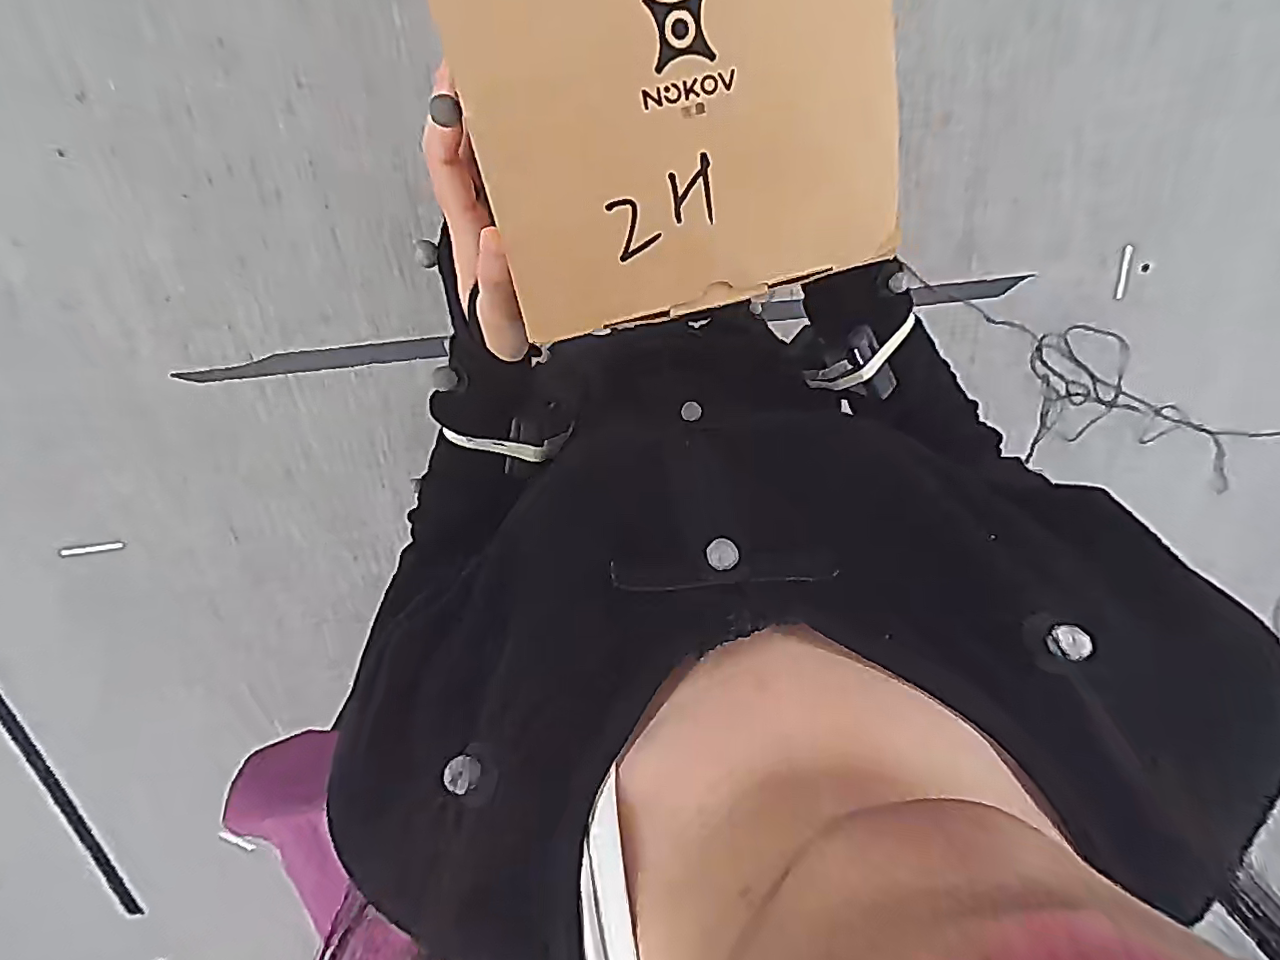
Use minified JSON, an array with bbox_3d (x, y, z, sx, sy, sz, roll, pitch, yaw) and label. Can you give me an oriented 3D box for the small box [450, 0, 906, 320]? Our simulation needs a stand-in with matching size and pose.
[{"bbox_3d":[0.006,-0.190,0.270,0.168,0.176,0.179,-15,113,-2],"label":"small box"}]
